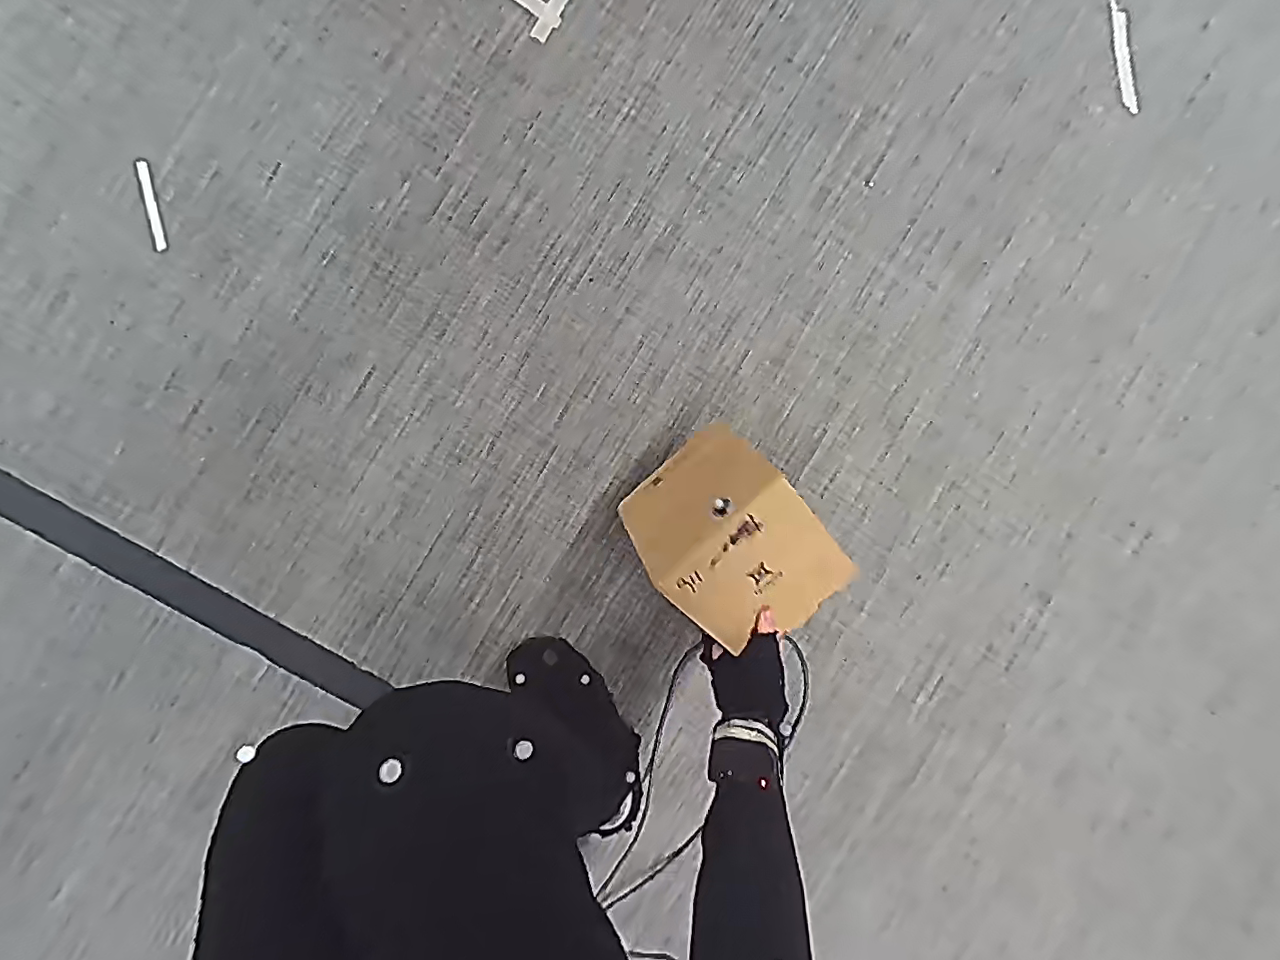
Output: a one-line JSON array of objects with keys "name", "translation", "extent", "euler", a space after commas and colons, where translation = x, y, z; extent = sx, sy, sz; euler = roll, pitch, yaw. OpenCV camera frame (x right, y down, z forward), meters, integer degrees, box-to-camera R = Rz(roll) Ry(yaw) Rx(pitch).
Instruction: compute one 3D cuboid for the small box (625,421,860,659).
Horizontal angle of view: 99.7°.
[{"name": "small box", "translation": [0.108, 0.062, 0.620], "extent": [0.168, 0.176, 0.179], "euler": [-41, 121, 8]}]
